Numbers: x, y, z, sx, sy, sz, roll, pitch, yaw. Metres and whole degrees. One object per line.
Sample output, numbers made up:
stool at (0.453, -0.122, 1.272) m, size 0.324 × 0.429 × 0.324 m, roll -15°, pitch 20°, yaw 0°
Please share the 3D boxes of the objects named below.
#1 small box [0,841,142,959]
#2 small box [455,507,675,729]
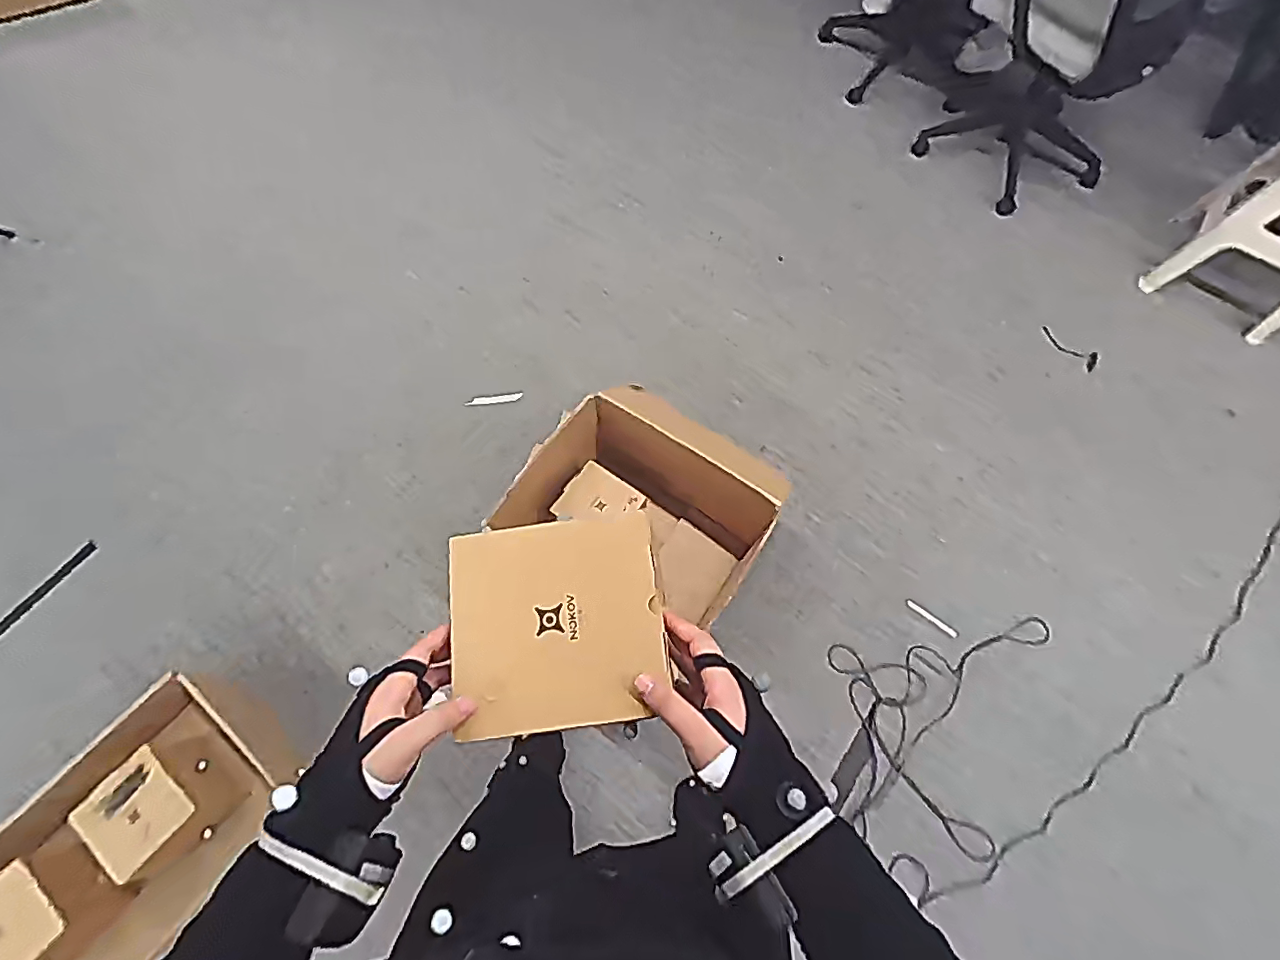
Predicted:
small box at (-1.138, 0.845, 1.037) m, size 0.168 × 0.176 × 0.179 m, roll 39°, pitch 72°, yaw 10°
small box at (-0.063, 0.138, 0.525) m, size 0.179 × 0.176 × 0.168 m, roll -8°, pitch 70°, yaw 1°
